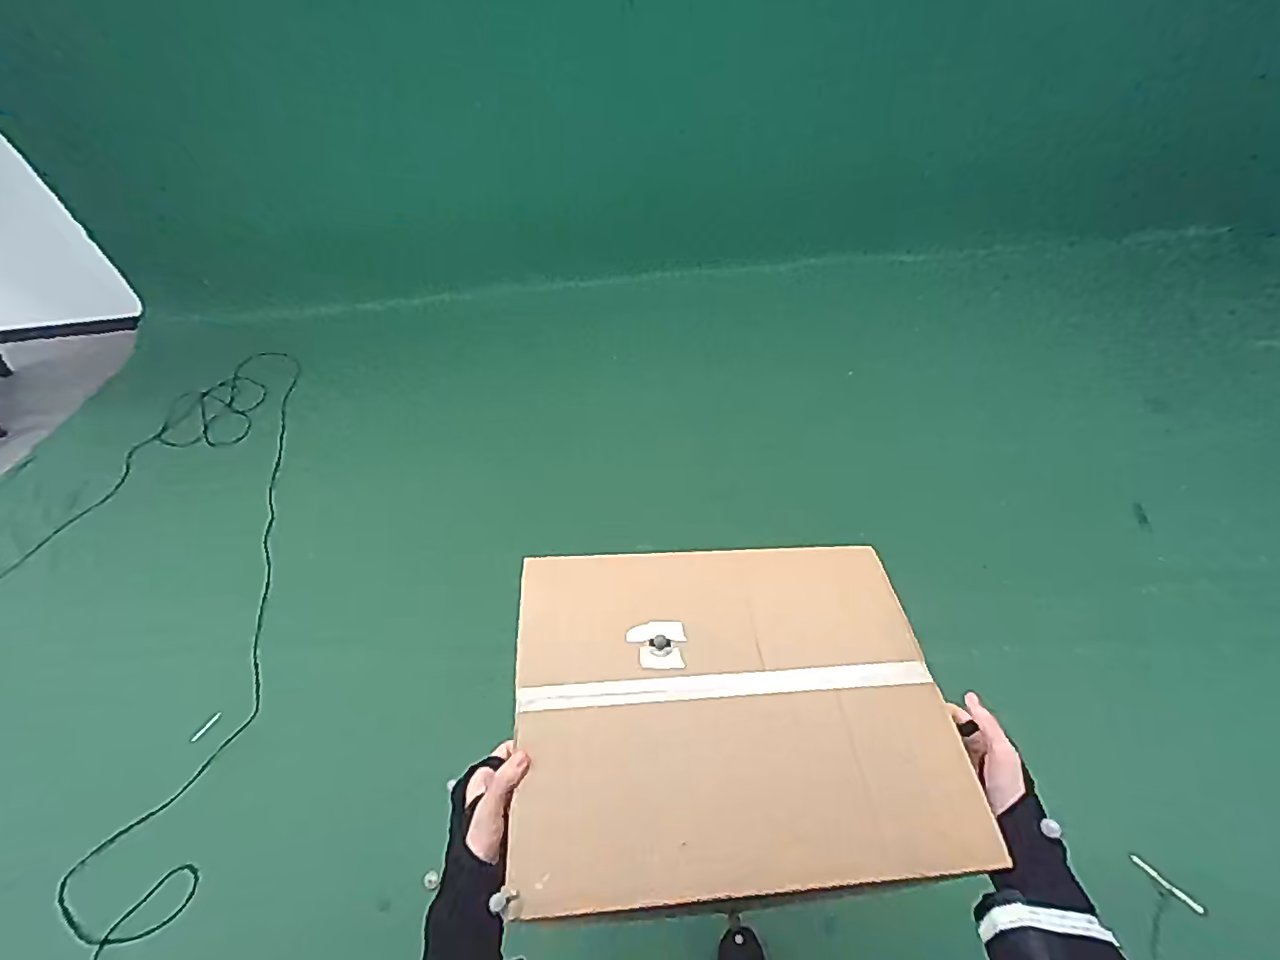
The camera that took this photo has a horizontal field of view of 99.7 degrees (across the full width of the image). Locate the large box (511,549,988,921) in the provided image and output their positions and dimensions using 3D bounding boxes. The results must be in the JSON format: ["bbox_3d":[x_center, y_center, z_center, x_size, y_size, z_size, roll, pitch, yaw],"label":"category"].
[{"bbox_3d":[0.078,0.302,0.640,0.408,0.320,0.320,-2,49,-5],"label":"large box"}]
